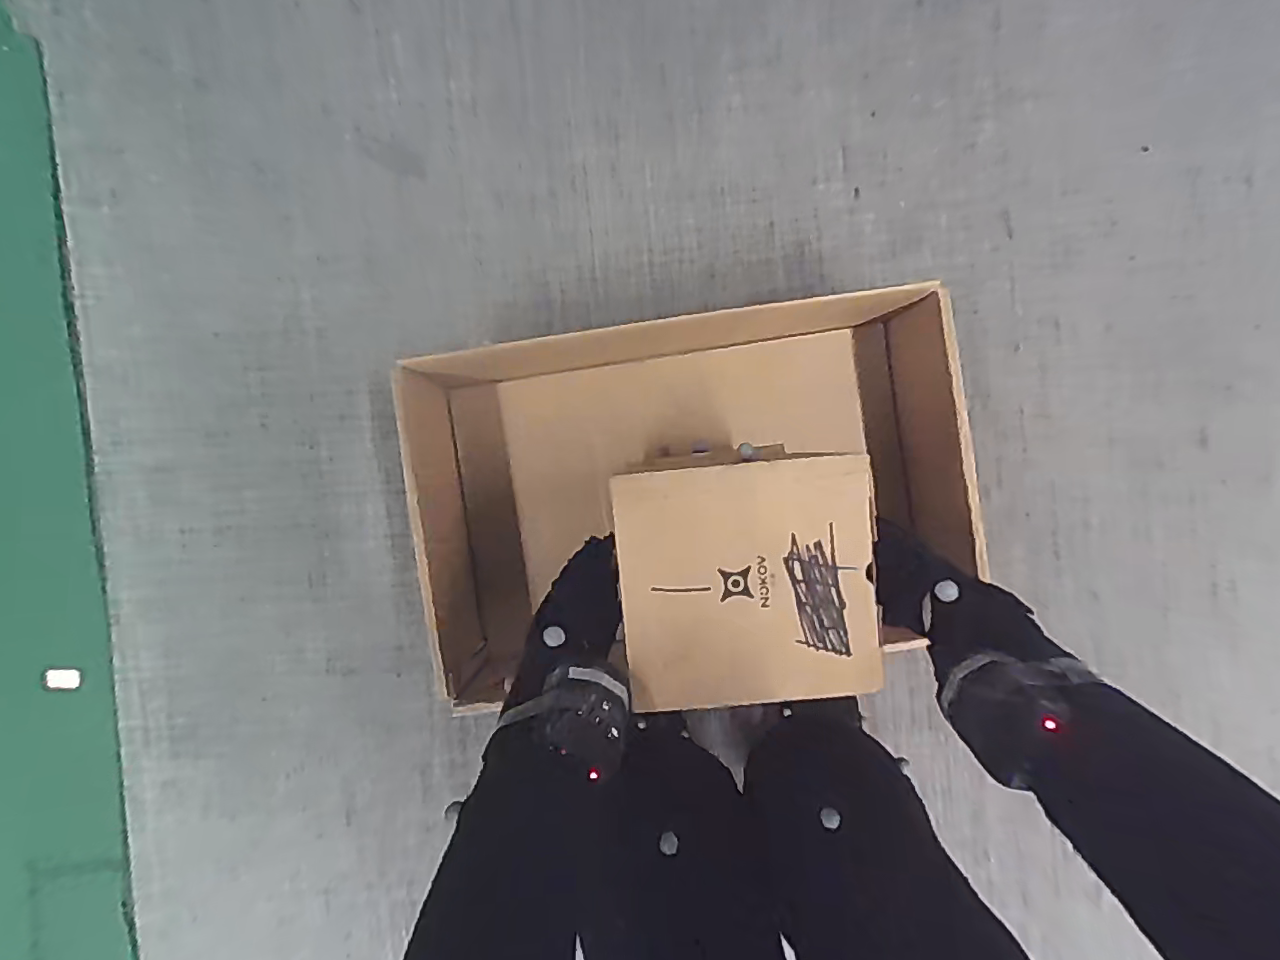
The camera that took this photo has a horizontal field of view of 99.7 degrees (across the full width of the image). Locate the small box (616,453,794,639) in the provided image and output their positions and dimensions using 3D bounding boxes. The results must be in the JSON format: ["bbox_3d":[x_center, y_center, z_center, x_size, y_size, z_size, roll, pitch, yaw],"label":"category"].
[{"bbox_3d":[0.068,0.063,0.621,0.168,0.176,0.179,-7,92,2],"label":"small box"}]
